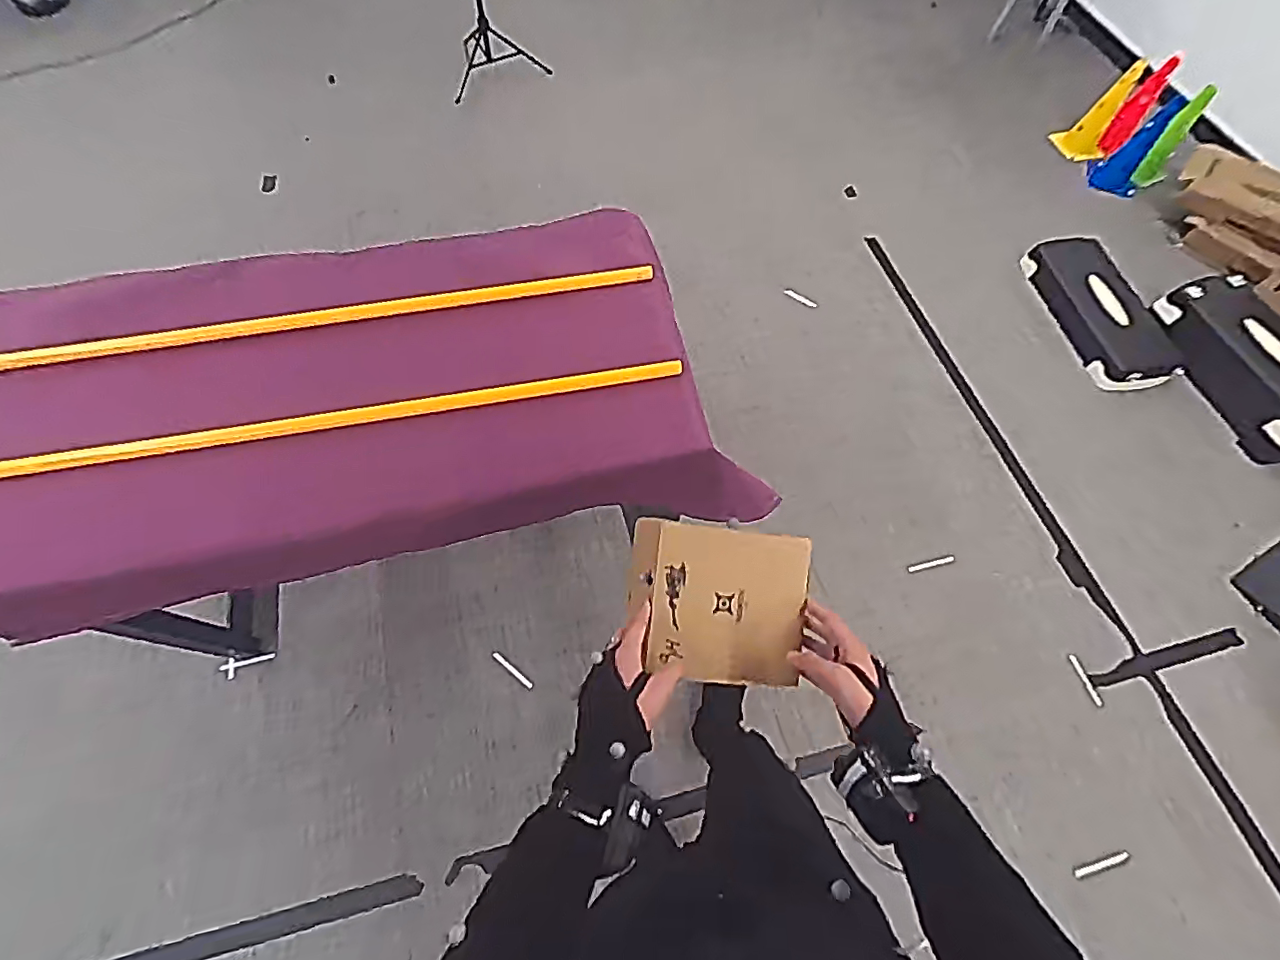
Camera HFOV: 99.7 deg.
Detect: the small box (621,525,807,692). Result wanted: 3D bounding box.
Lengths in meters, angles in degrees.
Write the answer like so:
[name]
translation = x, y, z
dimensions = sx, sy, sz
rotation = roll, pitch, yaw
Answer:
[small box]
translation = 0.082, 0.148, 0.671
dimensions = 0.179, 0.176, 0.168
rotation = 7, 86, -10
